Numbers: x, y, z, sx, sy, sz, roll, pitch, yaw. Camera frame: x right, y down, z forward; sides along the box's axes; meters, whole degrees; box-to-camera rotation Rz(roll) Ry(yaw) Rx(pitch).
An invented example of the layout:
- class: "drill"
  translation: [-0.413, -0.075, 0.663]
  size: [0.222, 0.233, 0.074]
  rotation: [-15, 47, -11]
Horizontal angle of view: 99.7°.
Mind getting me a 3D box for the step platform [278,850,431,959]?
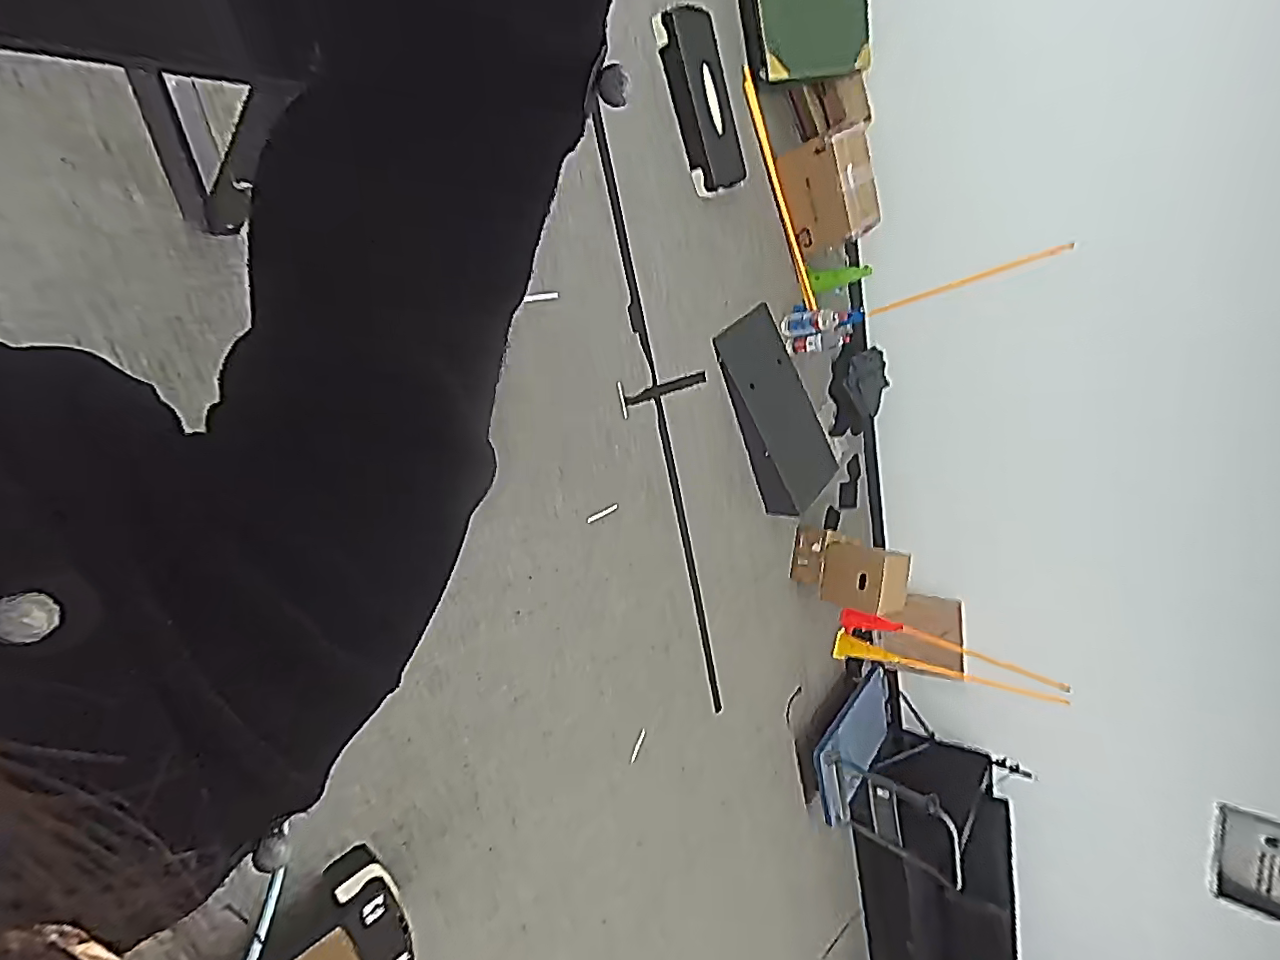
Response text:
- class: "step platform"
  translation: [-0.849, 1.232, 1.256]
  size: [0.684, 0.204, 0.286]
  rotation: [-19, 105, -44]
